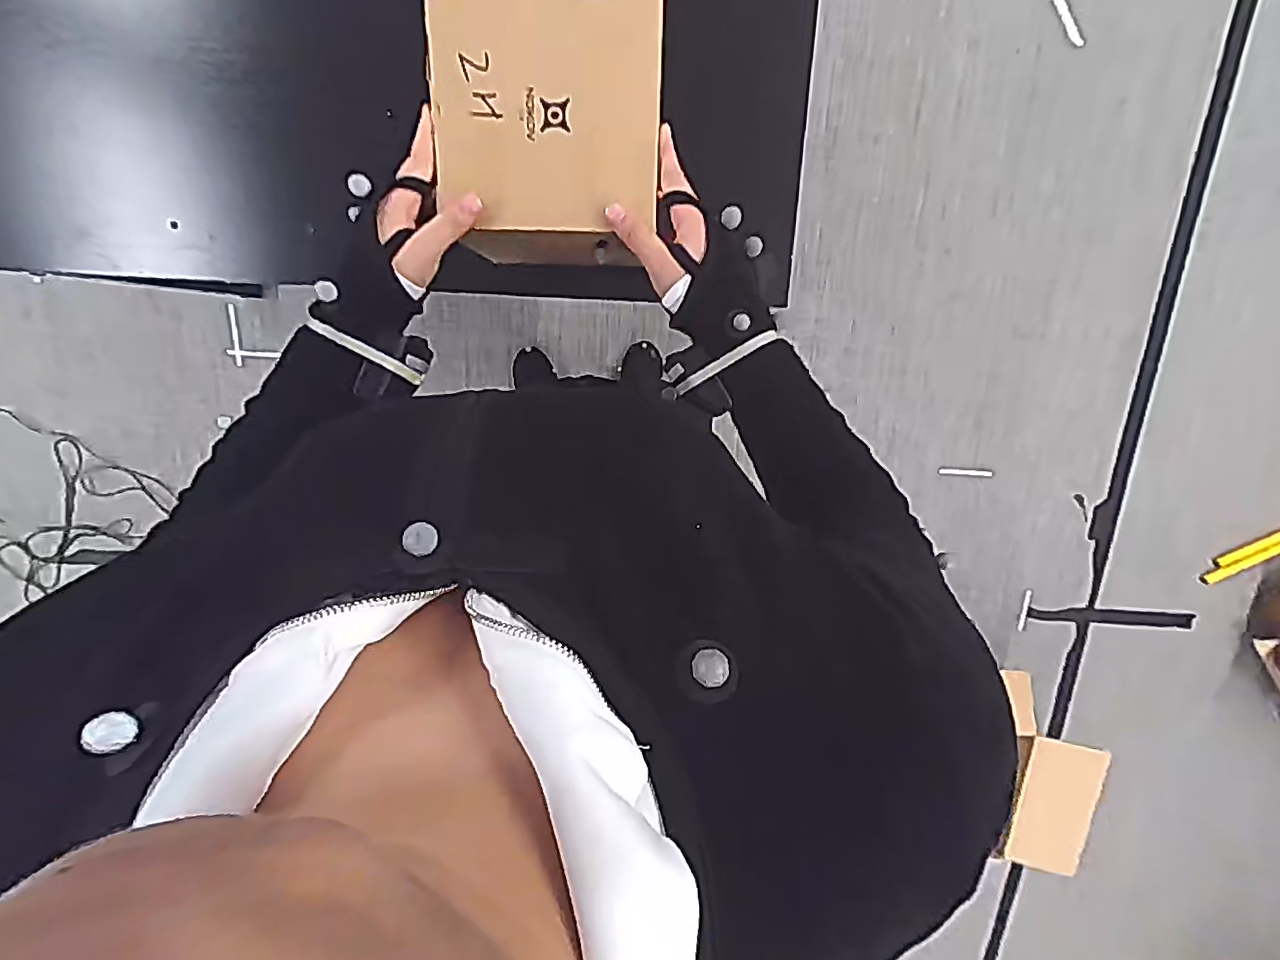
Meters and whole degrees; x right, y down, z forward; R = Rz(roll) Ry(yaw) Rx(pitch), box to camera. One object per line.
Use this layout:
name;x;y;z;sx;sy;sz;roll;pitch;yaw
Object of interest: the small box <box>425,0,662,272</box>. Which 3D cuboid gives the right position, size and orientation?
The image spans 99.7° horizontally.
small box;-0.072;-0.291;0.490;0.179;0.176;0.168;1;102;1
